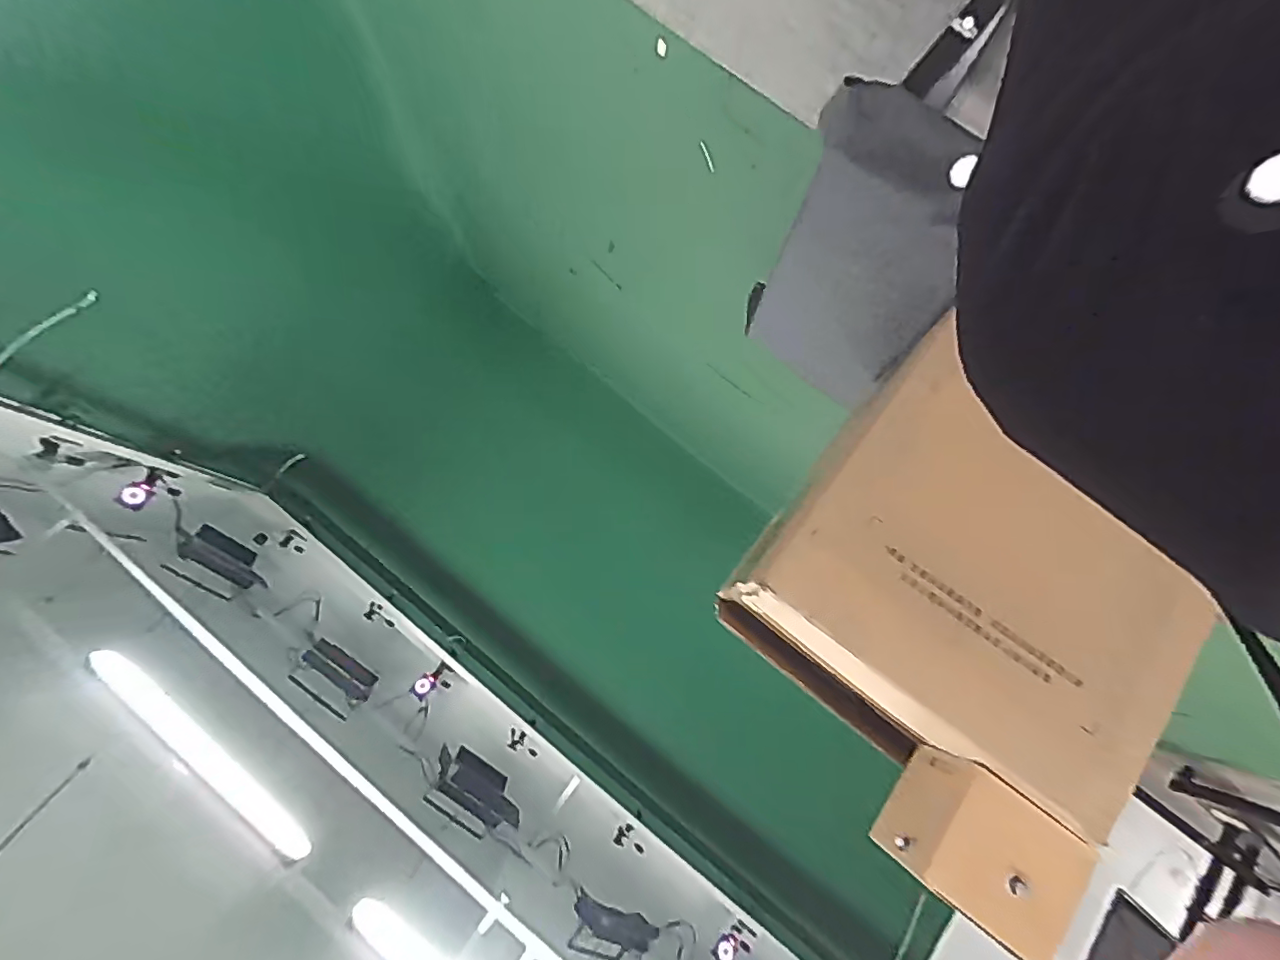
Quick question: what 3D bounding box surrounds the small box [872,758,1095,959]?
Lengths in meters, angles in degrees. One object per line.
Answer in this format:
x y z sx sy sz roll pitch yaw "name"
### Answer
0.473 0.530 0.757 0.179 0.176 0.168 36 165 10 "small box"
